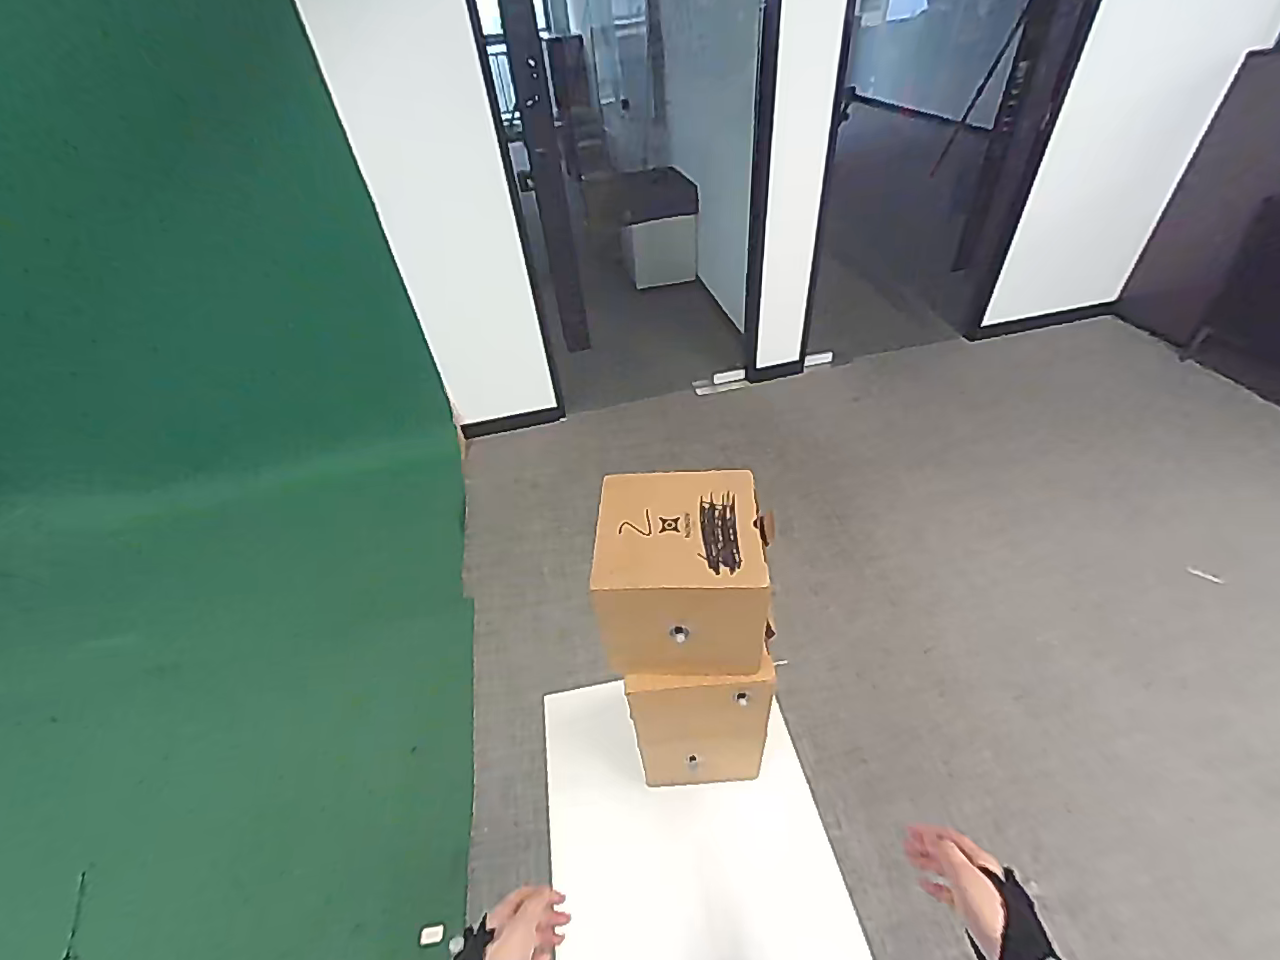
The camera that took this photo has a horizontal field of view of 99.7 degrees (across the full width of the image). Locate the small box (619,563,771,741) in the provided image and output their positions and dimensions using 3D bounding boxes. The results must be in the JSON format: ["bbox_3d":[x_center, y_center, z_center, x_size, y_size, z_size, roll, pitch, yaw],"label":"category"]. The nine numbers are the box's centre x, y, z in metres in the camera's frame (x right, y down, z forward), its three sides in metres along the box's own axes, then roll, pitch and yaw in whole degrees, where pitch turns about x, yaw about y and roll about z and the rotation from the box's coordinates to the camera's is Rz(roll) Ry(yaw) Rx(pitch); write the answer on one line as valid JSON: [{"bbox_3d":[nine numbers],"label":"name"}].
[{"bbox_3d":[0.068,0.234,0.728,0.179,0.176,0.168,-5,43,0],"label":"small box"}]

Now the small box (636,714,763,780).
[{"bbox_3d":[0.086,0.349,0.842,0.179,0.176,0.168,-6,43,2],"label":"small box"}]
